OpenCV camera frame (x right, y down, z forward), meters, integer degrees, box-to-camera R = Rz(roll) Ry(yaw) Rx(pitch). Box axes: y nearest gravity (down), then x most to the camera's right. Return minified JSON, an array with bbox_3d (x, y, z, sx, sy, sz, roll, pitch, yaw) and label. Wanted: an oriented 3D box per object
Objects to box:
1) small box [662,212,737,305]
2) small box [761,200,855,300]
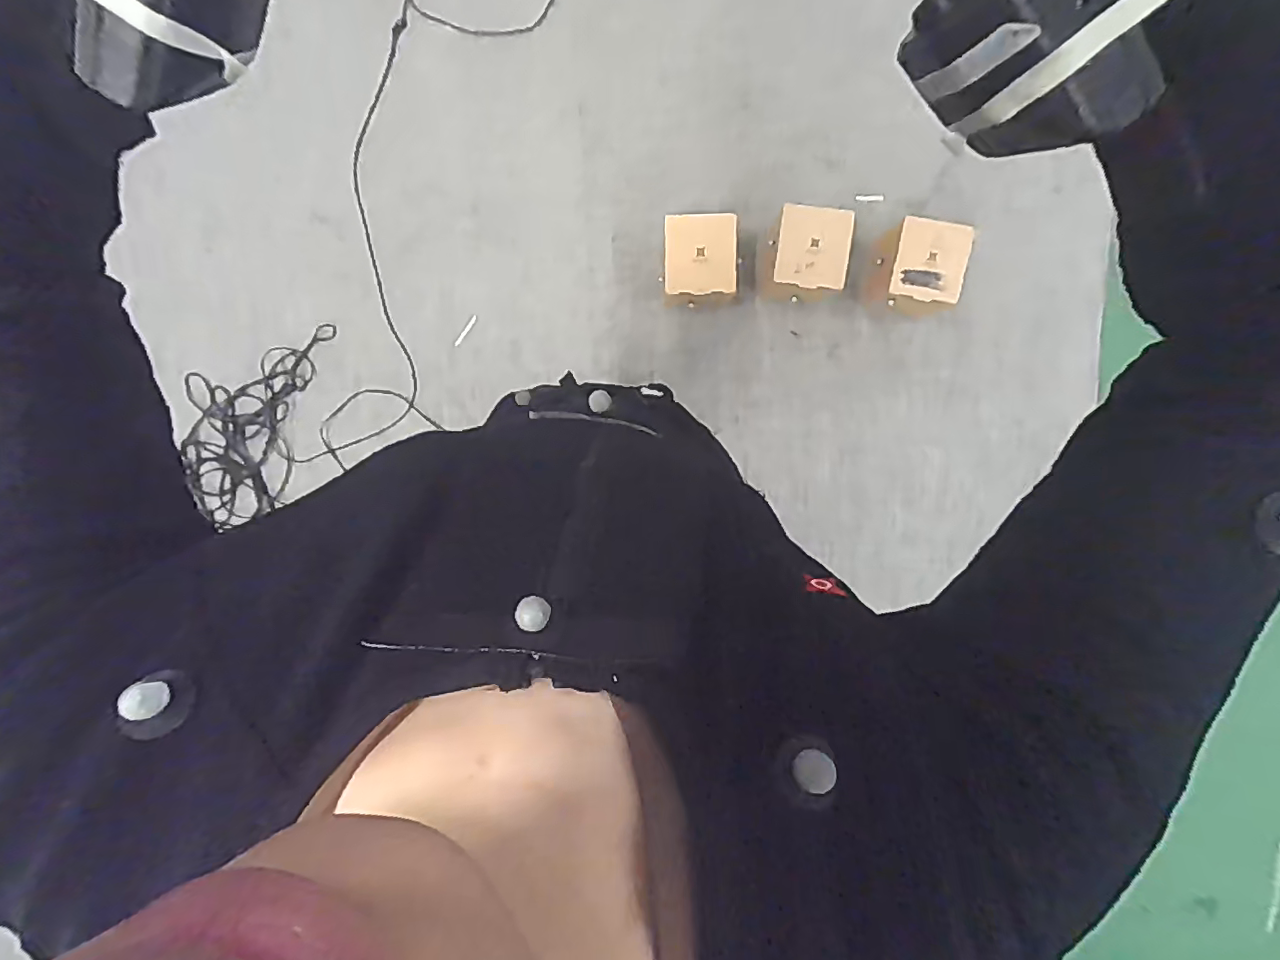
[{"bbox_3d":[0.140,-0.531,1.312,0.168,0.176,0.179,-1,99,1],"label":"small box"},{"bbox_3d":[0.396,-0.546,1.305,0.168,0.176,0.179,6,99,1],"label":"small box"}]
